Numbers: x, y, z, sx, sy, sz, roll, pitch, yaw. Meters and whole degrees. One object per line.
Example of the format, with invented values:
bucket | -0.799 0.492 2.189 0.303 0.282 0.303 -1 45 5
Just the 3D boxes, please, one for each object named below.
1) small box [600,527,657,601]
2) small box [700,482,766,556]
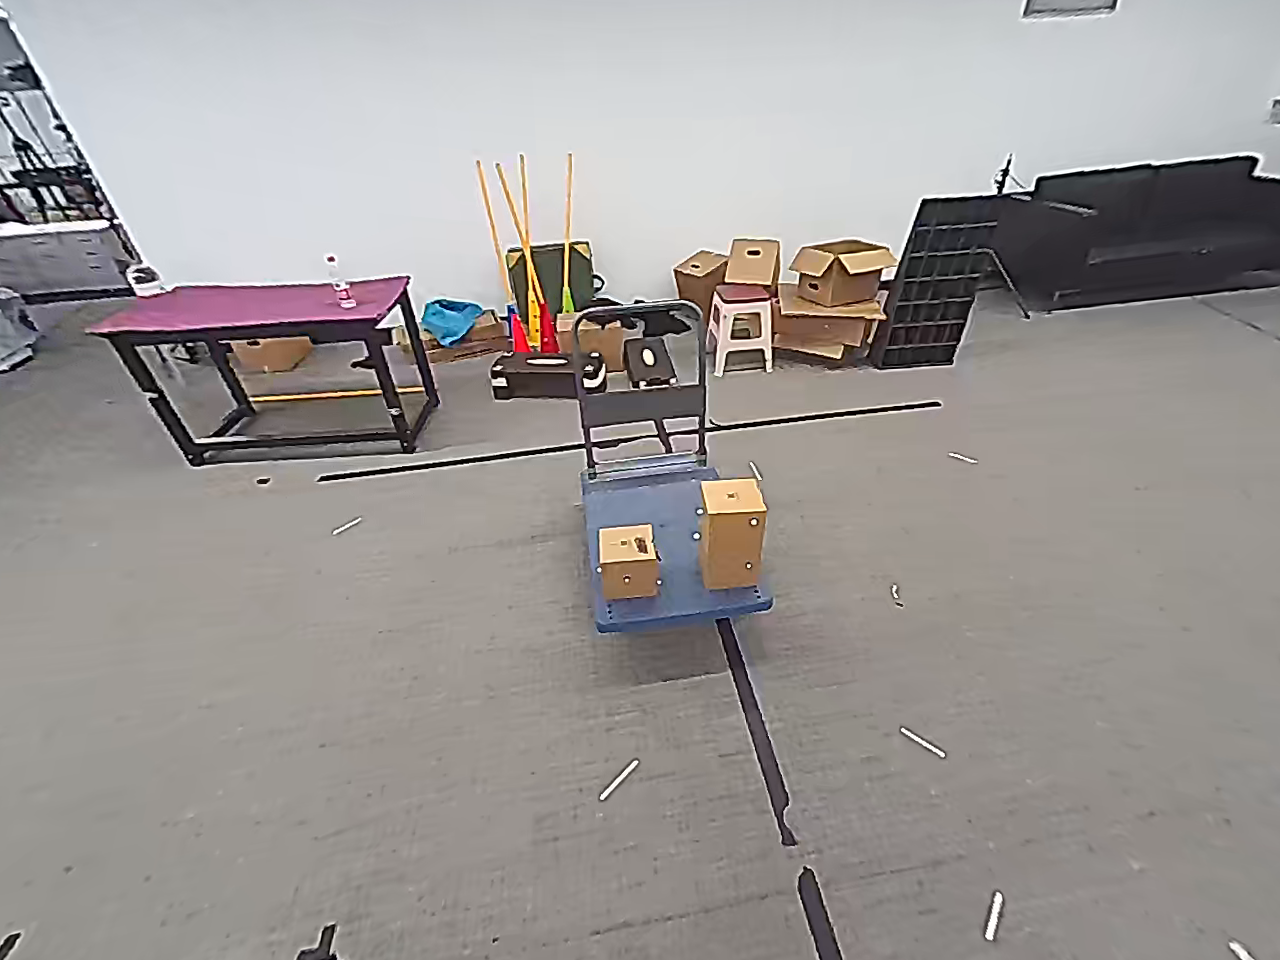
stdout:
small box | -0.038 0.276 1.767 0.179 0.176 0.168 -5 36 -1
small box | 0.283 0.123 1.682 0.179 0.176 0.168 -2 36 -1
